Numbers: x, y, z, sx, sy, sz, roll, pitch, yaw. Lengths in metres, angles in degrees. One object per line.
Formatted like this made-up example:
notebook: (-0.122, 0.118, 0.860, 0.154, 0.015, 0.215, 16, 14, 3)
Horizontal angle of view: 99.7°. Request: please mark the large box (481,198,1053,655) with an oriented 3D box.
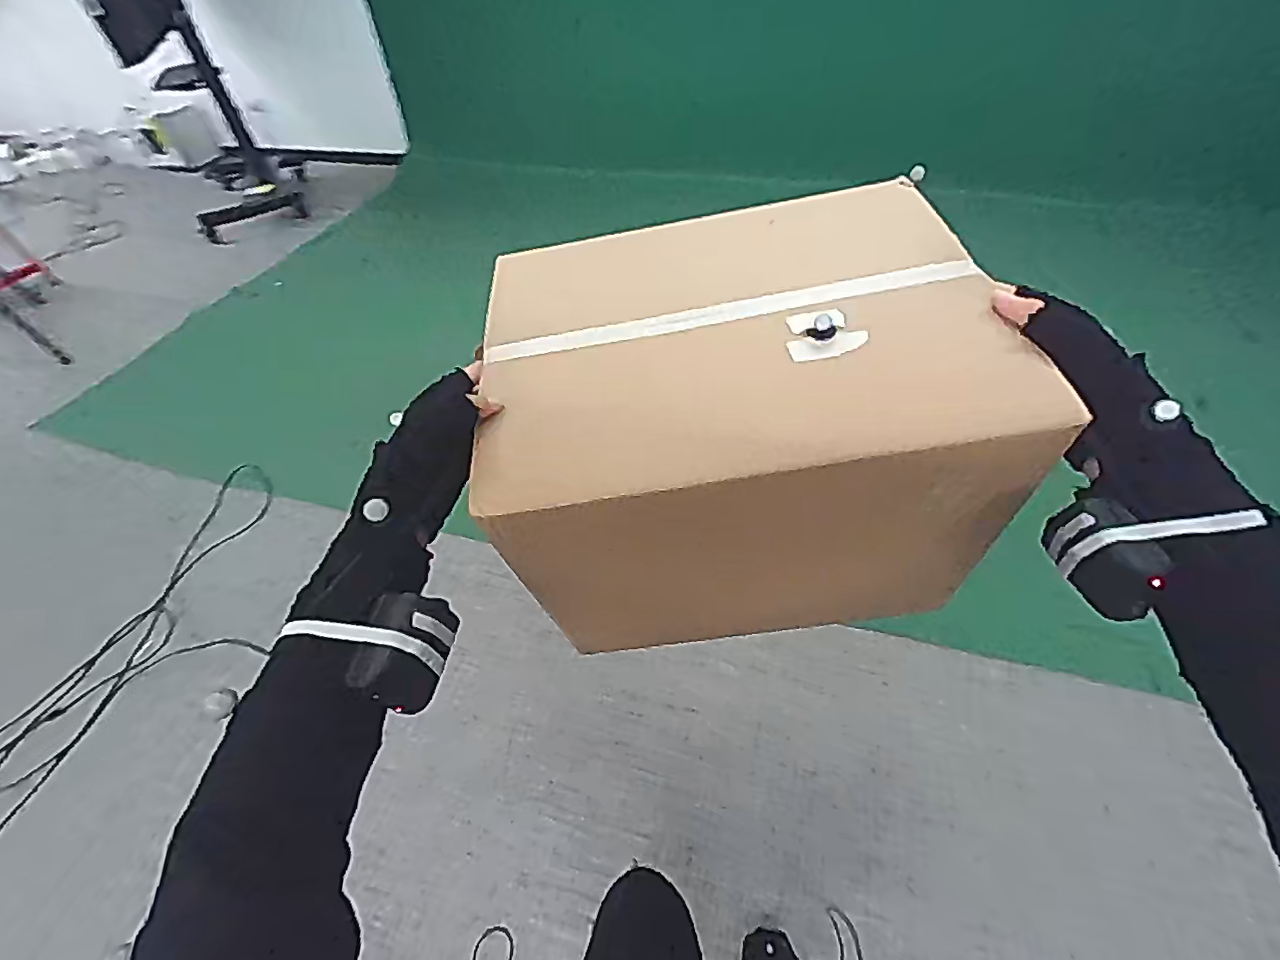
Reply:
large box: (0.087, -0.038, 0.574, 0.408, 0.320, 0.320, -9, 55, 4)
